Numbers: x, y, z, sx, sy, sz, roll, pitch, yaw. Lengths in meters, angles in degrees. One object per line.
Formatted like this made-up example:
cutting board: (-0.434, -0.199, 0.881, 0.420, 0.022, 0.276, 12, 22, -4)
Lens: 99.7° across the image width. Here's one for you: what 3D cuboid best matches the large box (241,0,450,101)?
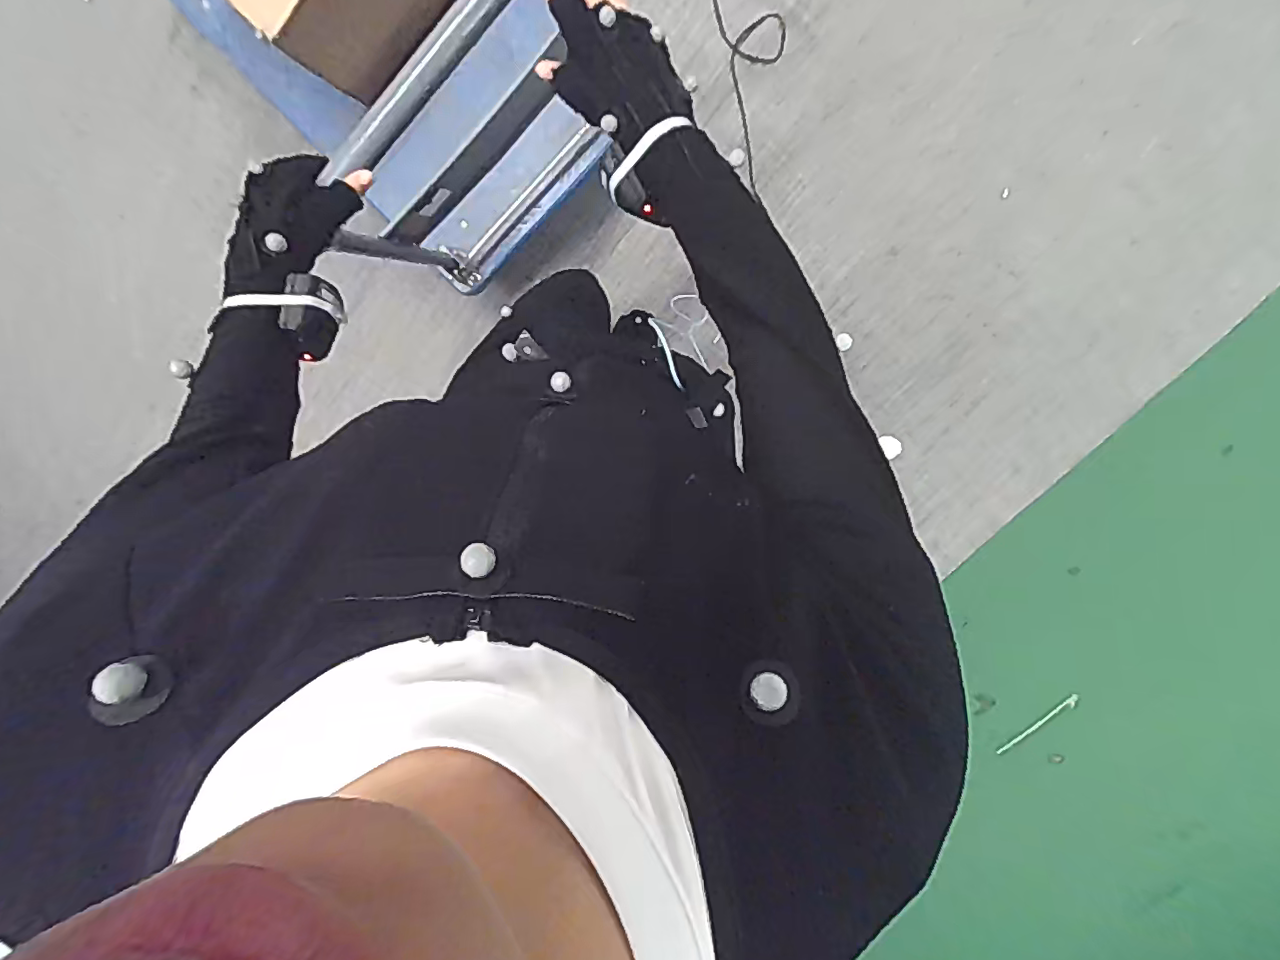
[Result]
large box: (-0.488, -0.927, 0.850, 0.320, 0.320, 0.408, 43, 105, -13)
